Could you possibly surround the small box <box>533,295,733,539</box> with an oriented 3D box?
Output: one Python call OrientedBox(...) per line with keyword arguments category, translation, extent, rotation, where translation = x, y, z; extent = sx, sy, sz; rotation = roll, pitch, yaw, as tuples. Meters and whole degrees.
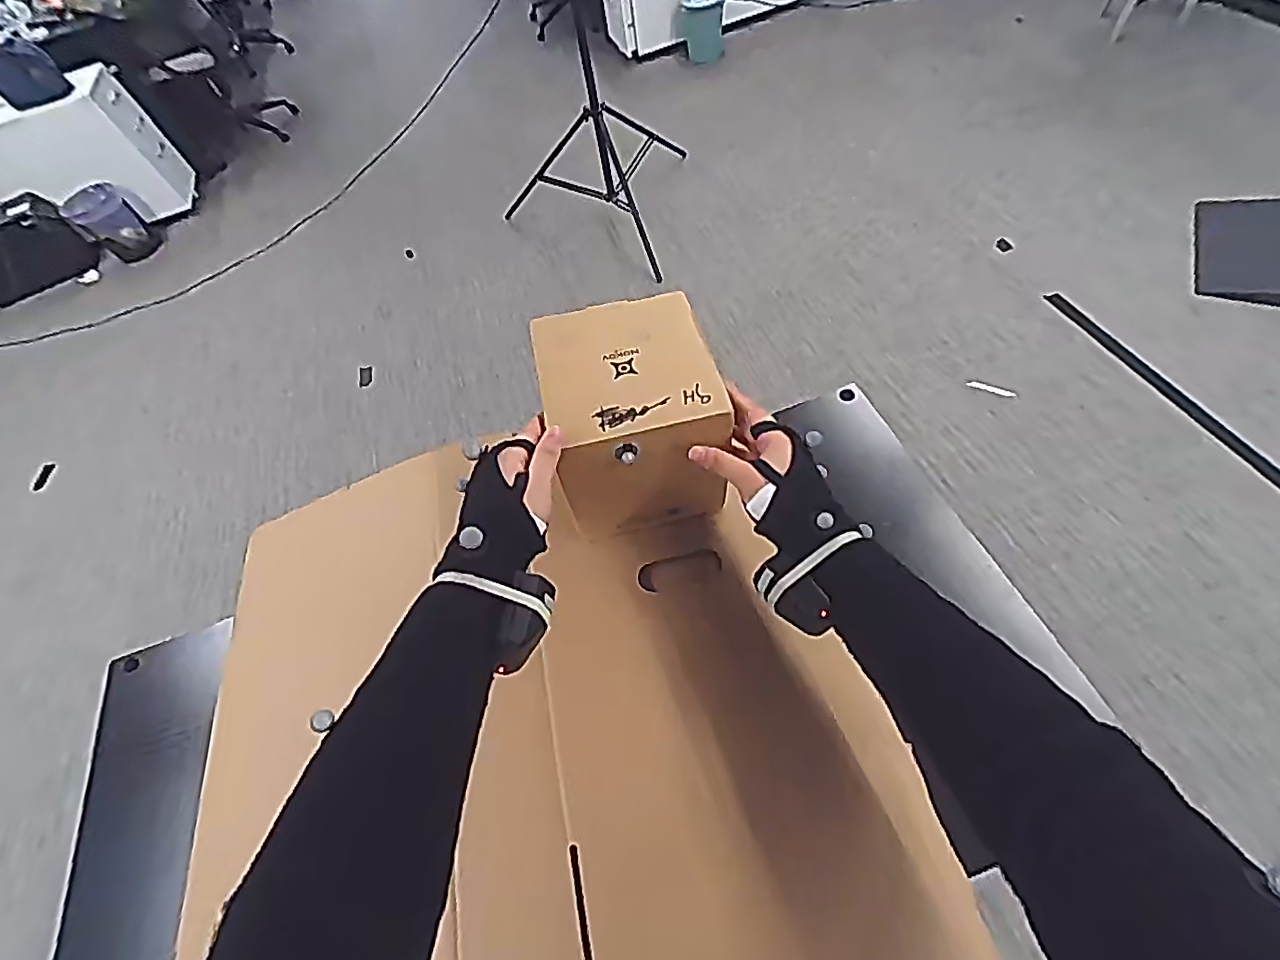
OrientedBox(category="small box", translation=(-0.009, -0.064, 0.578), extent=(0.168, 0.176, 0.179), rotation=(-13, 55, -3))
